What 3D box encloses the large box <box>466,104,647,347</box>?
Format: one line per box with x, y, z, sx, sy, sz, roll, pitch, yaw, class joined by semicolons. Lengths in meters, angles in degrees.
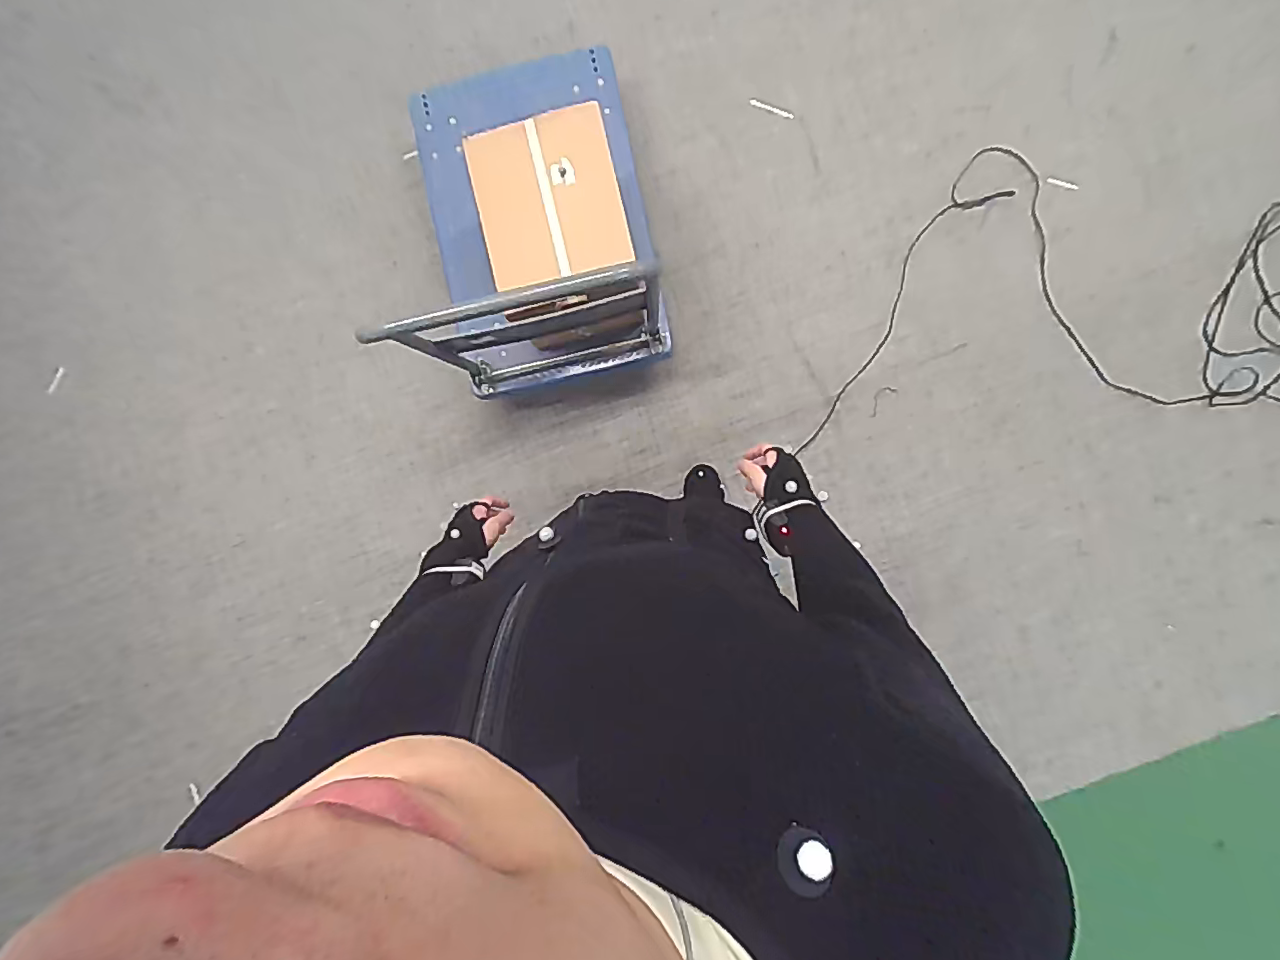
-0.180;-0.587;1.322;0.320;0.320;0.408;-13;89;2;large box
